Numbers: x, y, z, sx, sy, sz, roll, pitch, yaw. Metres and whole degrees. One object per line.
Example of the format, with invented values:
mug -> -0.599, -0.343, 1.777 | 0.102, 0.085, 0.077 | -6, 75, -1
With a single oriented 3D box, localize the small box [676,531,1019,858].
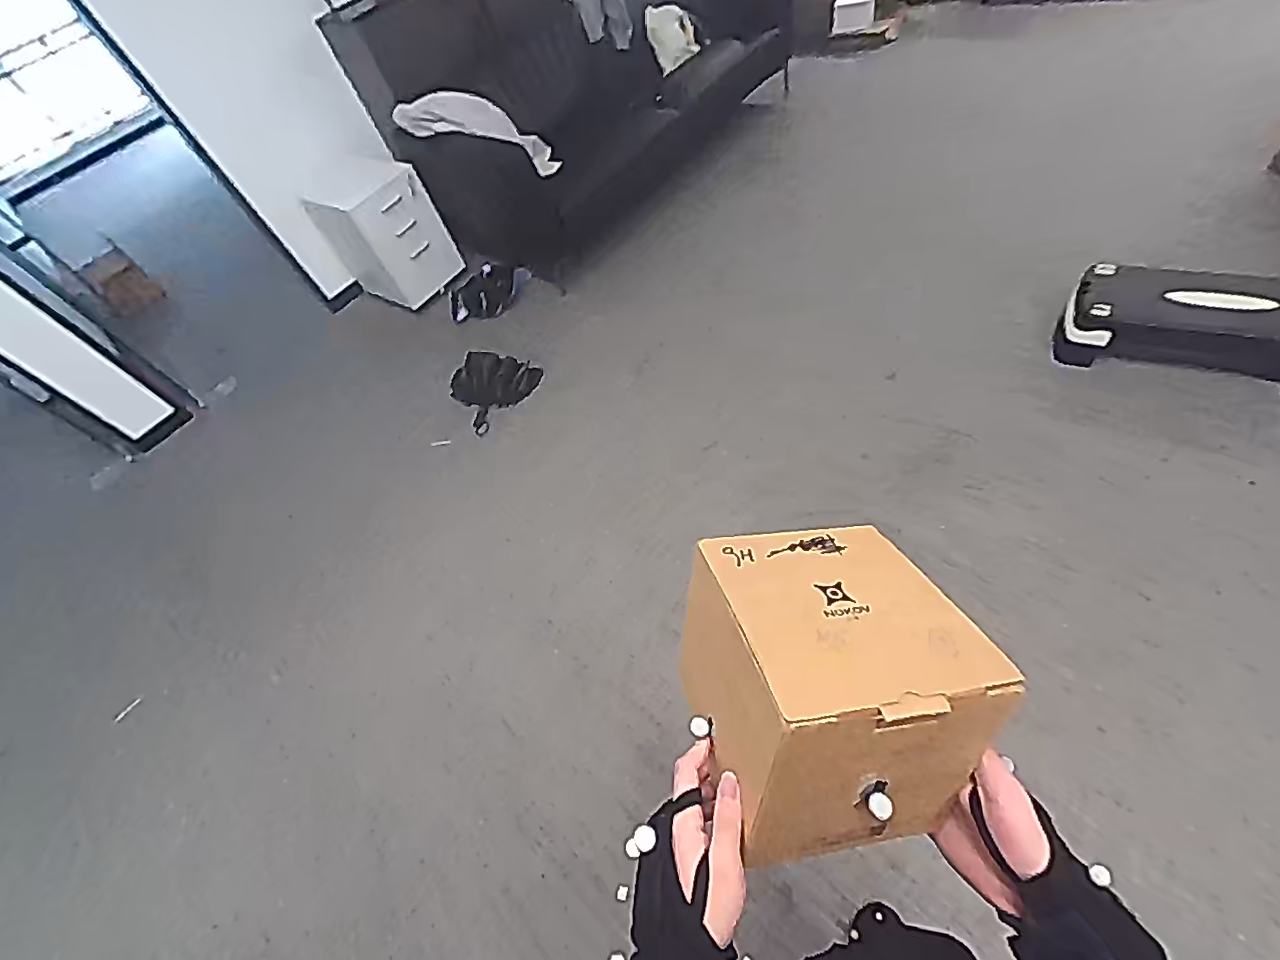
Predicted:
small box -> 0.133, 0.162, 0.424 | 0.168, 0.176, 0.179 | -2, 32, -12
